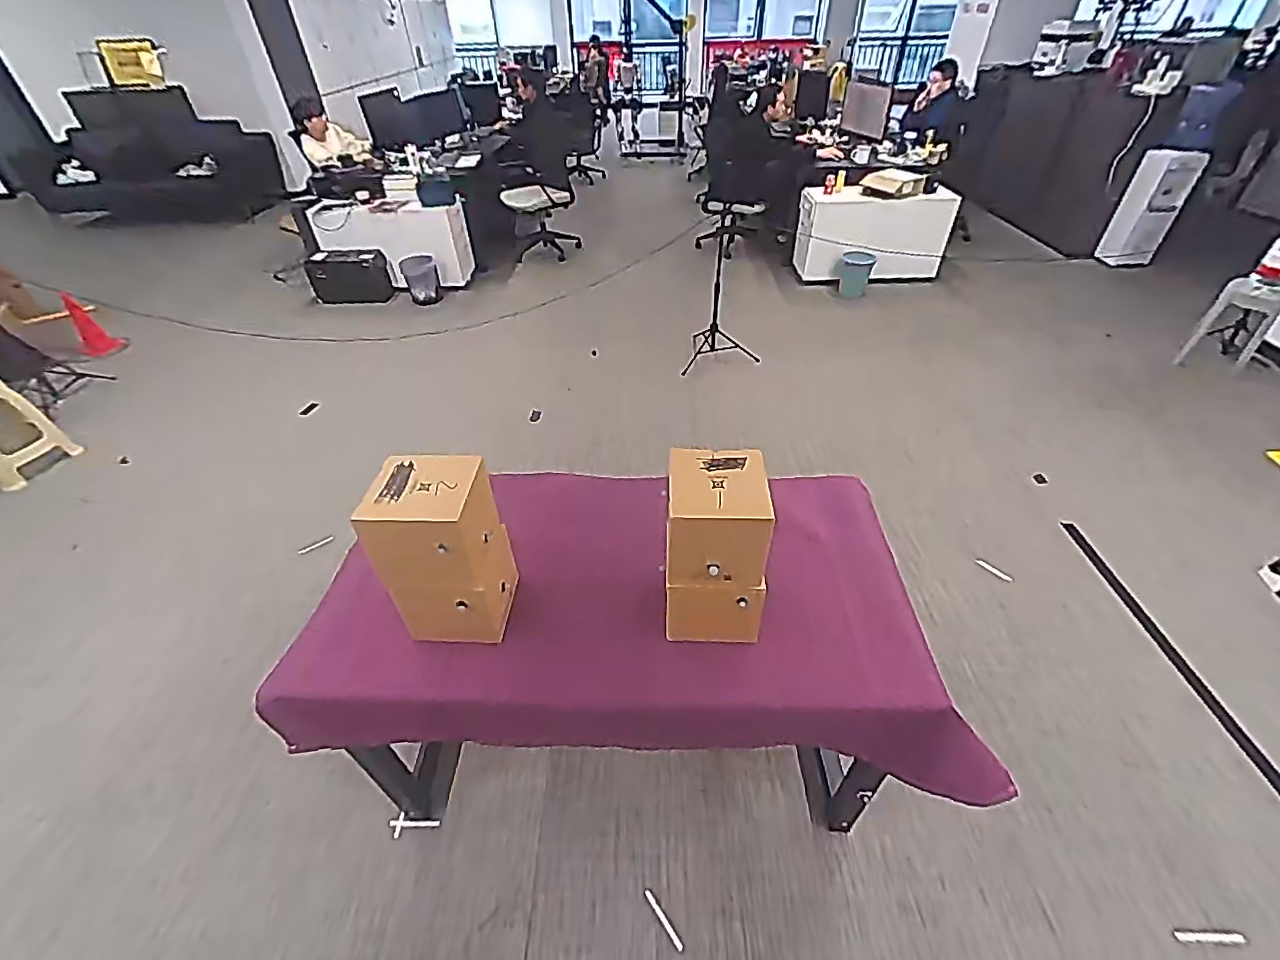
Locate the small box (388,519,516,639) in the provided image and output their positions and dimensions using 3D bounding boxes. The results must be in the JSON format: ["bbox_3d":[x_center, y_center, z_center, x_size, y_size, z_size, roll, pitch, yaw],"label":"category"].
[{"bbox_3d":[-0.353,0.196,1.059,0.179,0.176,0.168,2,41,3],"label":"small box"}]

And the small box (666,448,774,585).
[{"bbox_3d":[0.132,0.063,0.950,0.168,0.176,0.179,1,41,3],"label":"small box"}]

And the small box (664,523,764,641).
[{"bbox_3d":[0.136,0.196,1.049,0.179,0.176,0.168,1,41,2],"label":"small box"}]
